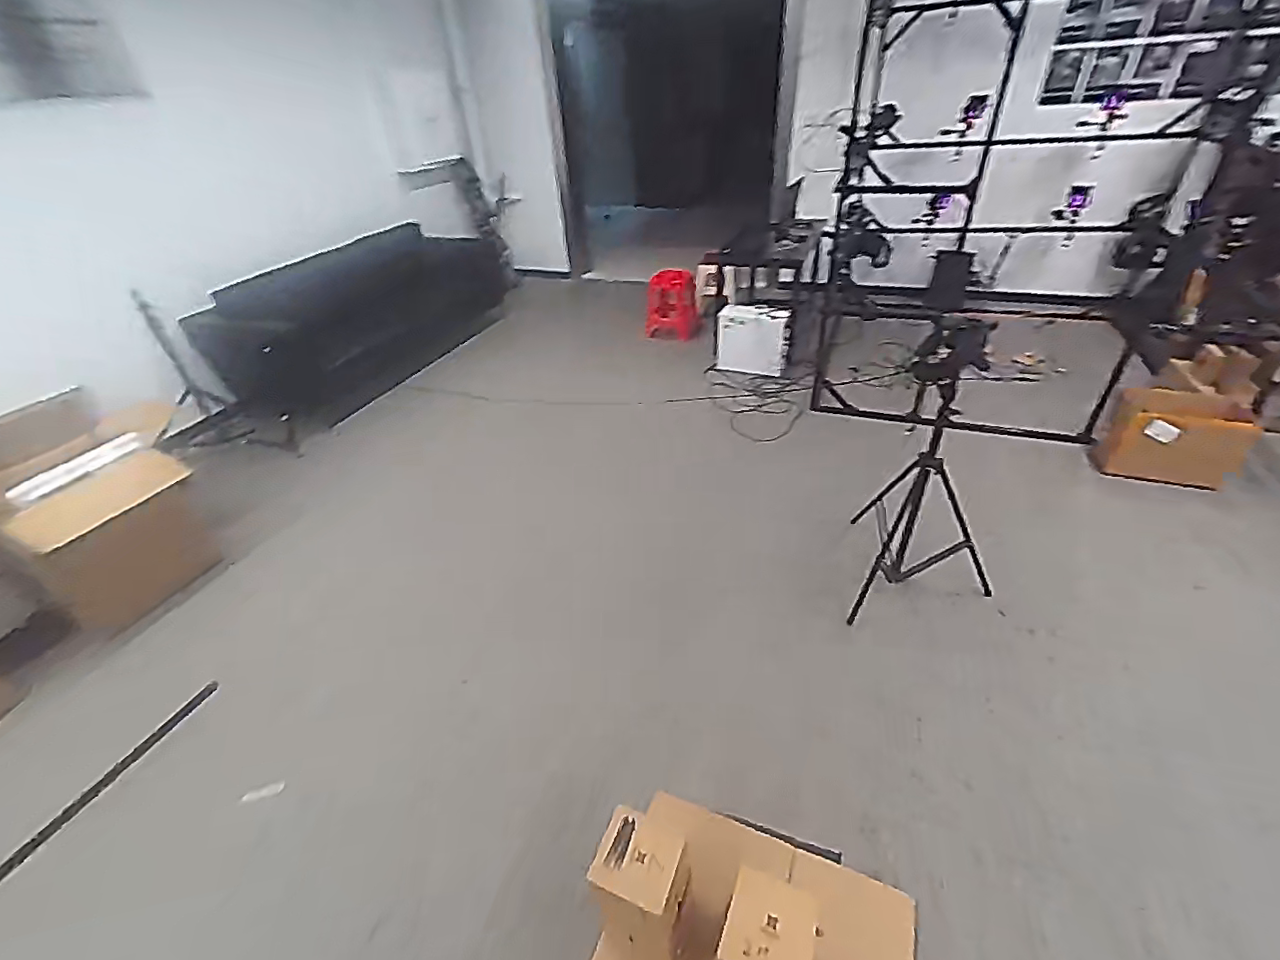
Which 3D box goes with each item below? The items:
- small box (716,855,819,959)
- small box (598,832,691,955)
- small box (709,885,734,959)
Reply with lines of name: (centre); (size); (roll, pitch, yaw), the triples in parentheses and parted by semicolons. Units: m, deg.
small box: (0.259, 0.932, 1.114); (0.168, 0.176, 0.179); (13, 40, 22)
small box: (0.019, 1.006, 1.313); (0.179, 0.176, 0.168); (11, 38, 21)
small box: (0.259, 1.064, 1.213); (0.179, 0.176, 0.168); (13, 40, 22)
